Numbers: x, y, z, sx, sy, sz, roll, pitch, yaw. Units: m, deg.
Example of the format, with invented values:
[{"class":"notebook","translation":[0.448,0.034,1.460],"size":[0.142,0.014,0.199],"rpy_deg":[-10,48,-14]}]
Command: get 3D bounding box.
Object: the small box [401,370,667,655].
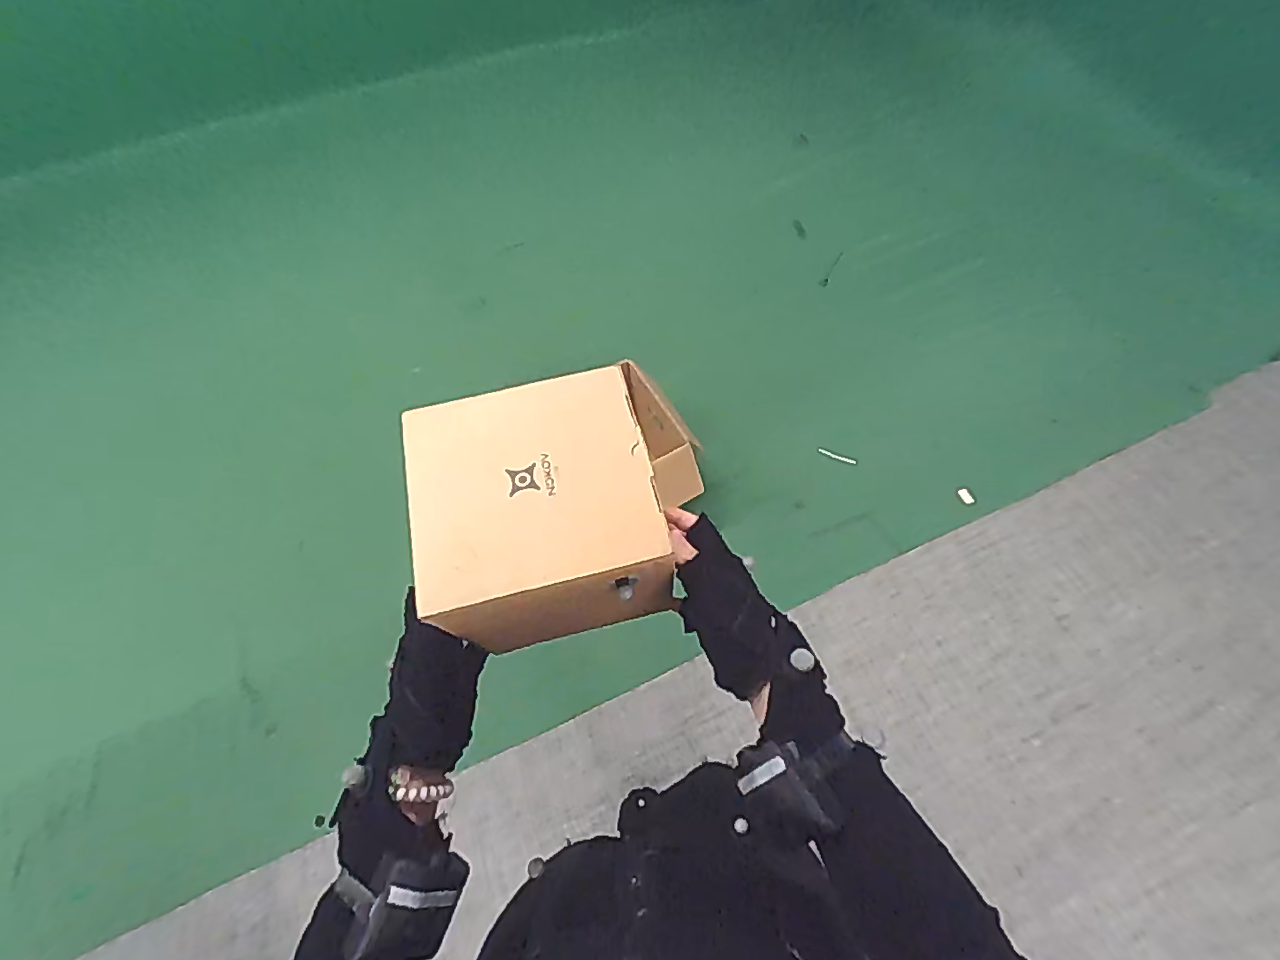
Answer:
[{"class":"small box","translation":[-0.079,0.038,0.461],"size":[0.179,0.176,0.168],"rpy_deg":[-14,64,-5]}]
